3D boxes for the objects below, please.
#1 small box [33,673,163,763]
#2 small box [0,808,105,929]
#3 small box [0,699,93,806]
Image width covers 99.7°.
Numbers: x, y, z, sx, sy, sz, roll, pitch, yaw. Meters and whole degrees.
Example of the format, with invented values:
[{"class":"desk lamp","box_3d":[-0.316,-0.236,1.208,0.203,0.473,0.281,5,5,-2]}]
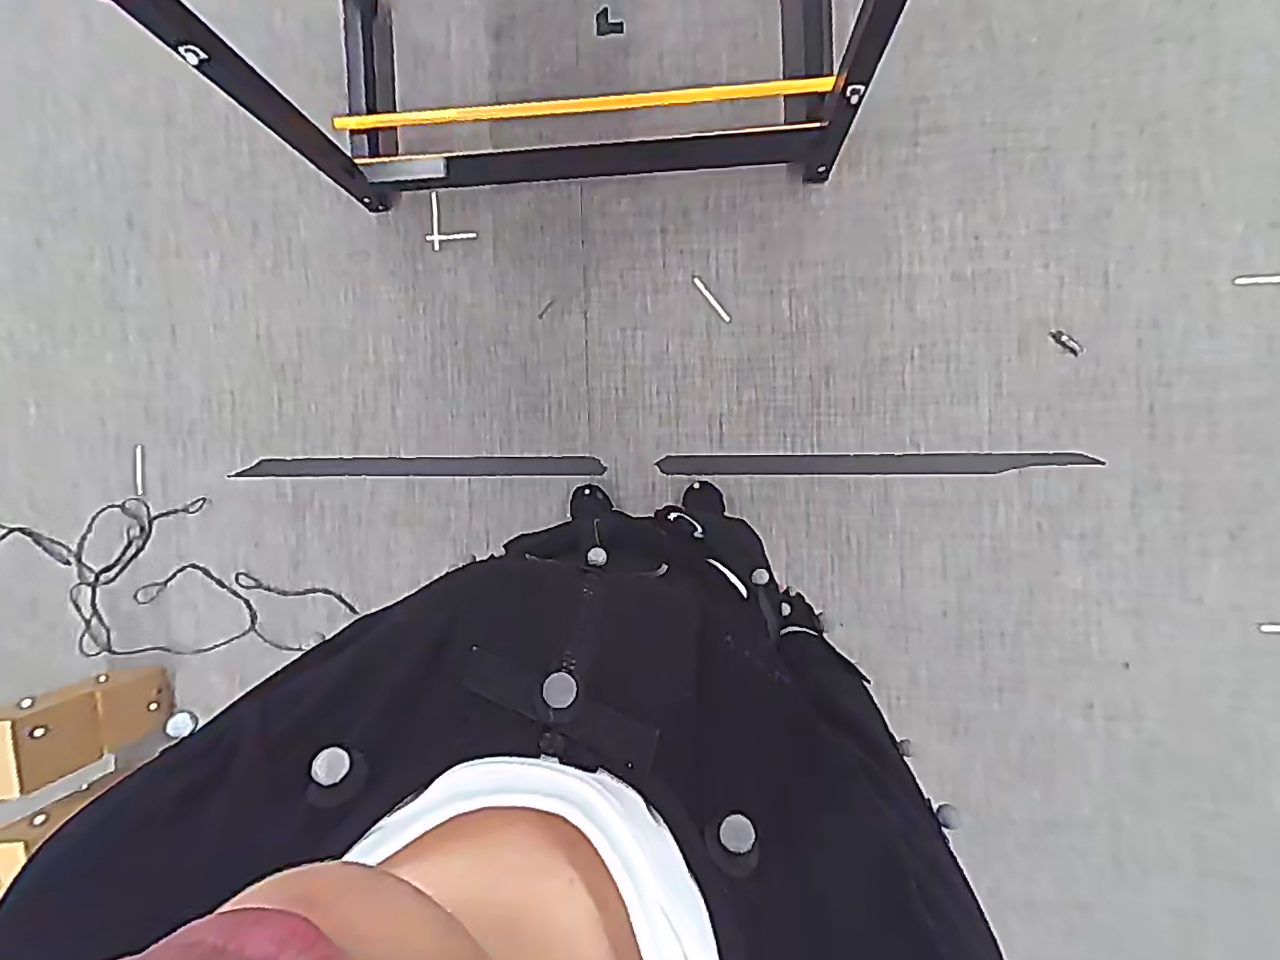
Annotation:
[{"class":"small box","box_3d":[-1.405,0.616,1.410,0.179,0.176,0.168,-5,91,4]},{"class":"small box","box_3d":[-1.405,0.888,1.251,0.168,0.176,0.179,-9,90,5]},{"class":"small box","box_3d":[-1.430,0.620,1.246,0.168,0.176,0.179,-7,91,6]}]
